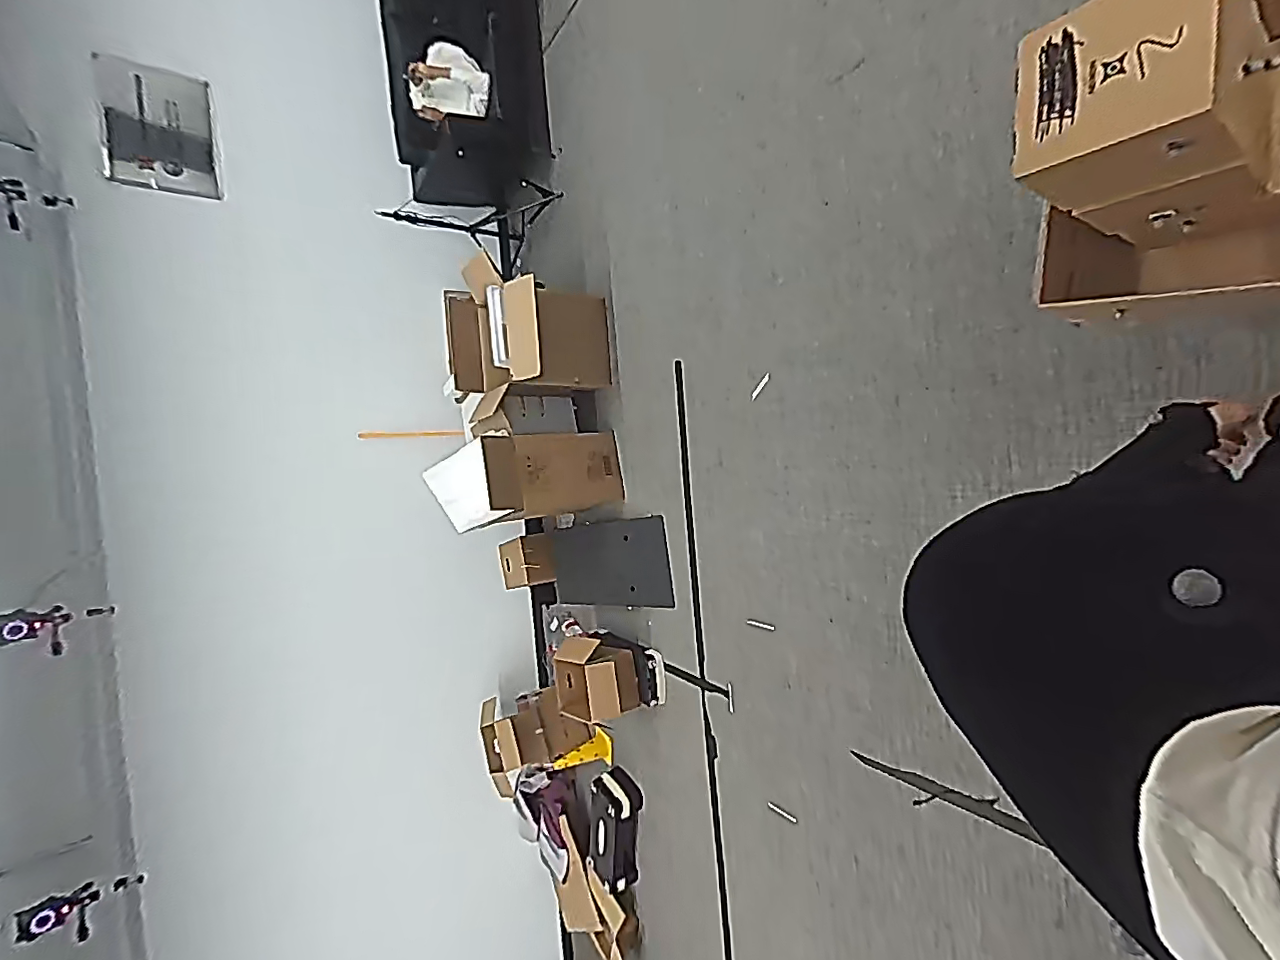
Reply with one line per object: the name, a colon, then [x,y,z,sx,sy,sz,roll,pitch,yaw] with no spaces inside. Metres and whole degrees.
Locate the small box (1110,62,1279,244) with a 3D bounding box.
small box: [0.847,-0.468,0.808,0.179,0.176,0.168,8,101,54]

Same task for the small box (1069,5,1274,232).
small box: [0.707,-0.459,0.724,0.168,0.176,0.179,4,97,56]
